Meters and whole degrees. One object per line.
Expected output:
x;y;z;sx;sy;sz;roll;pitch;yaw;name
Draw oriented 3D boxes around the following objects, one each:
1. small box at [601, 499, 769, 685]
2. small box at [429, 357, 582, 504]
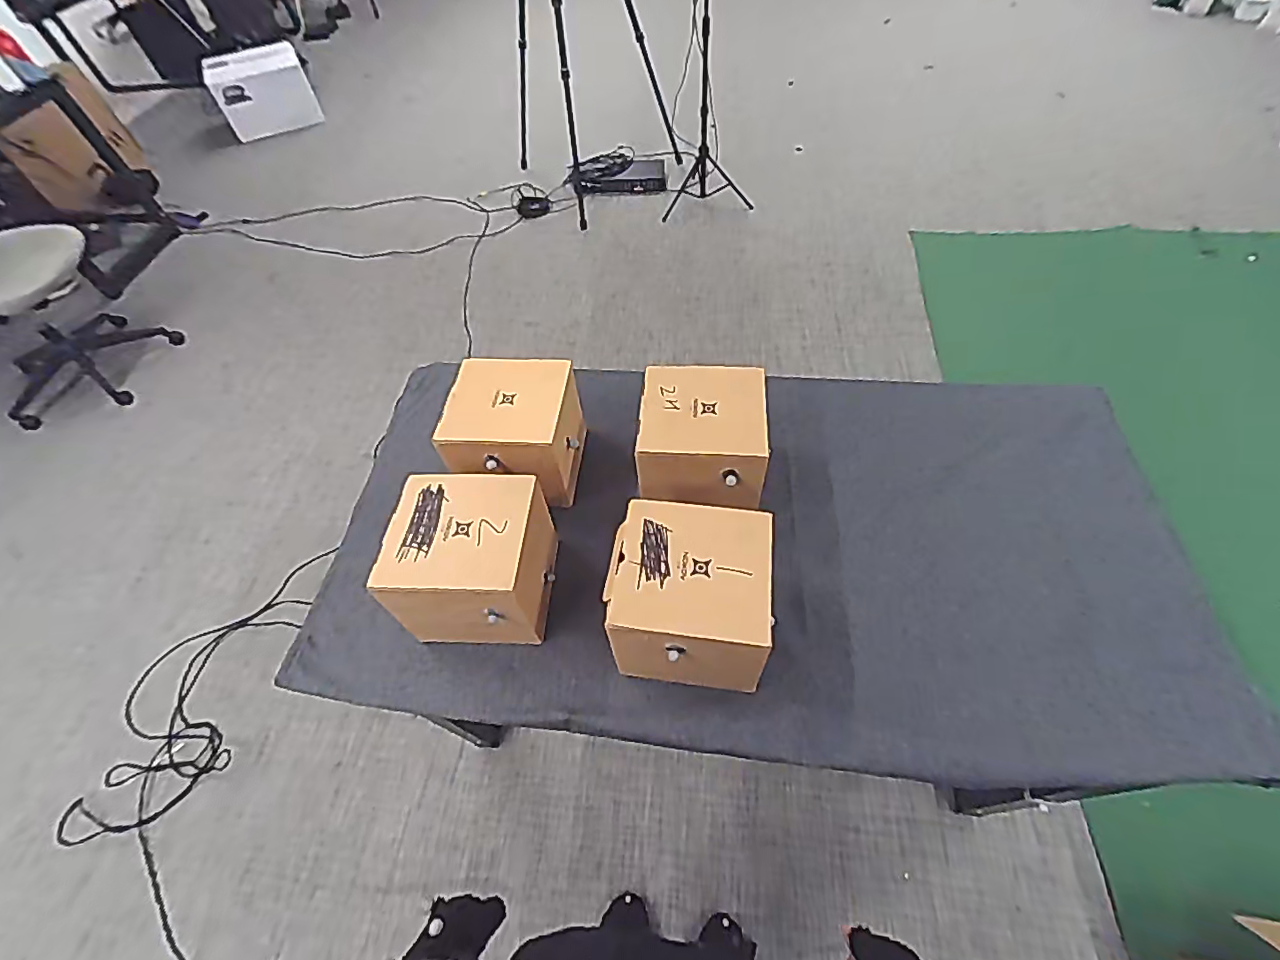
0.061;0.142;0.671;0.179;0.176;0.168;5;55;8;small box
-0.196;-0.073;0.851;0.179;0.176;0.168;1;55;7;small box
